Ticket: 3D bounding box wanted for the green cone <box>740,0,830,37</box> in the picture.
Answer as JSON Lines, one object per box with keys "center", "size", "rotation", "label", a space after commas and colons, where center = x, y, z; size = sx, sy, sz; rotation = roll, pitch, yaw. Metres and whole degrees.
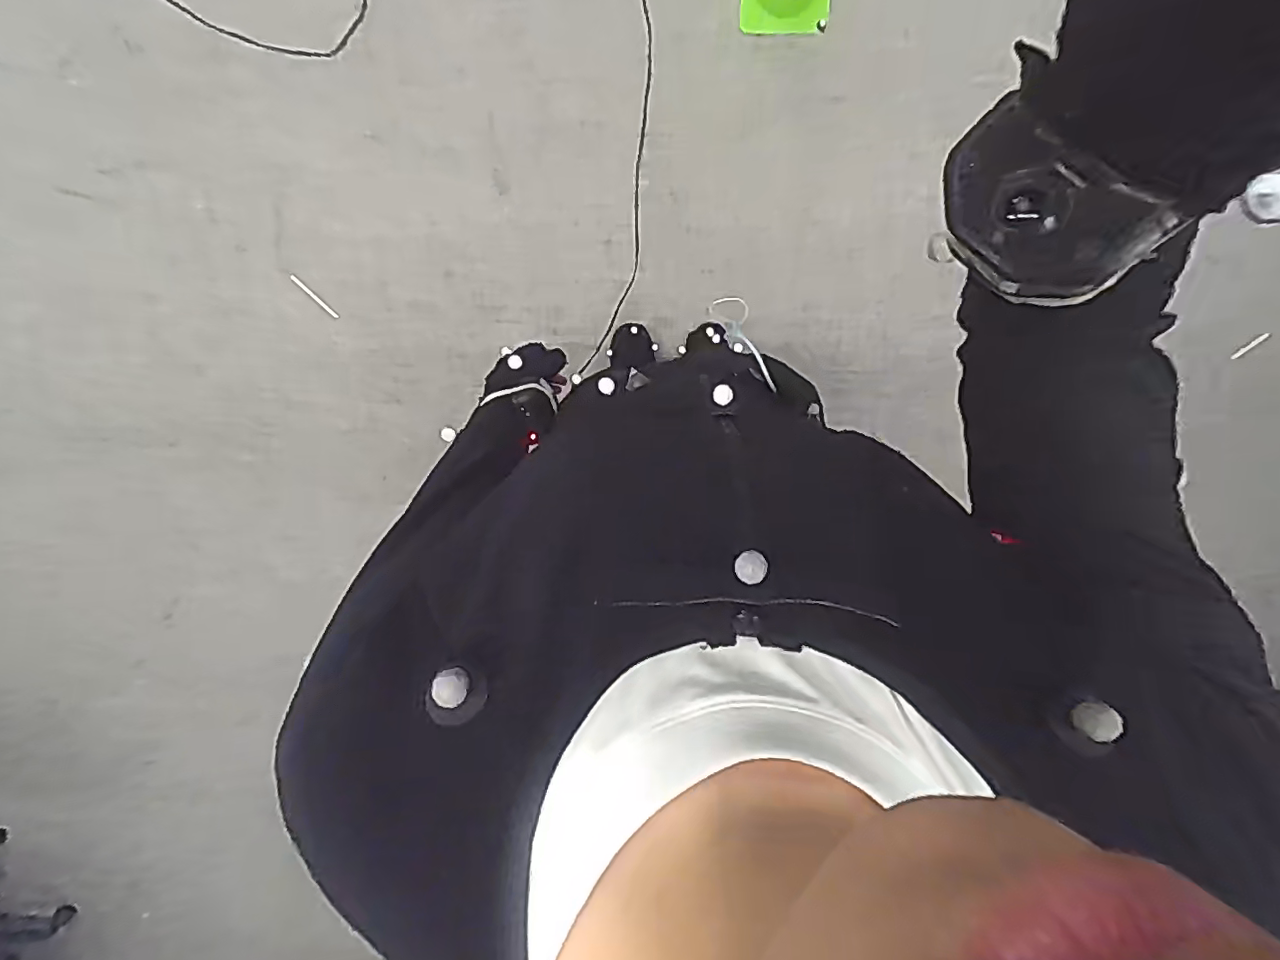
{"center": [0.317, -1.056, 1.027], "size": [0.202, 0.368, 0.200], "rotation": [-1, 104, 2], "label": "green cone"}
